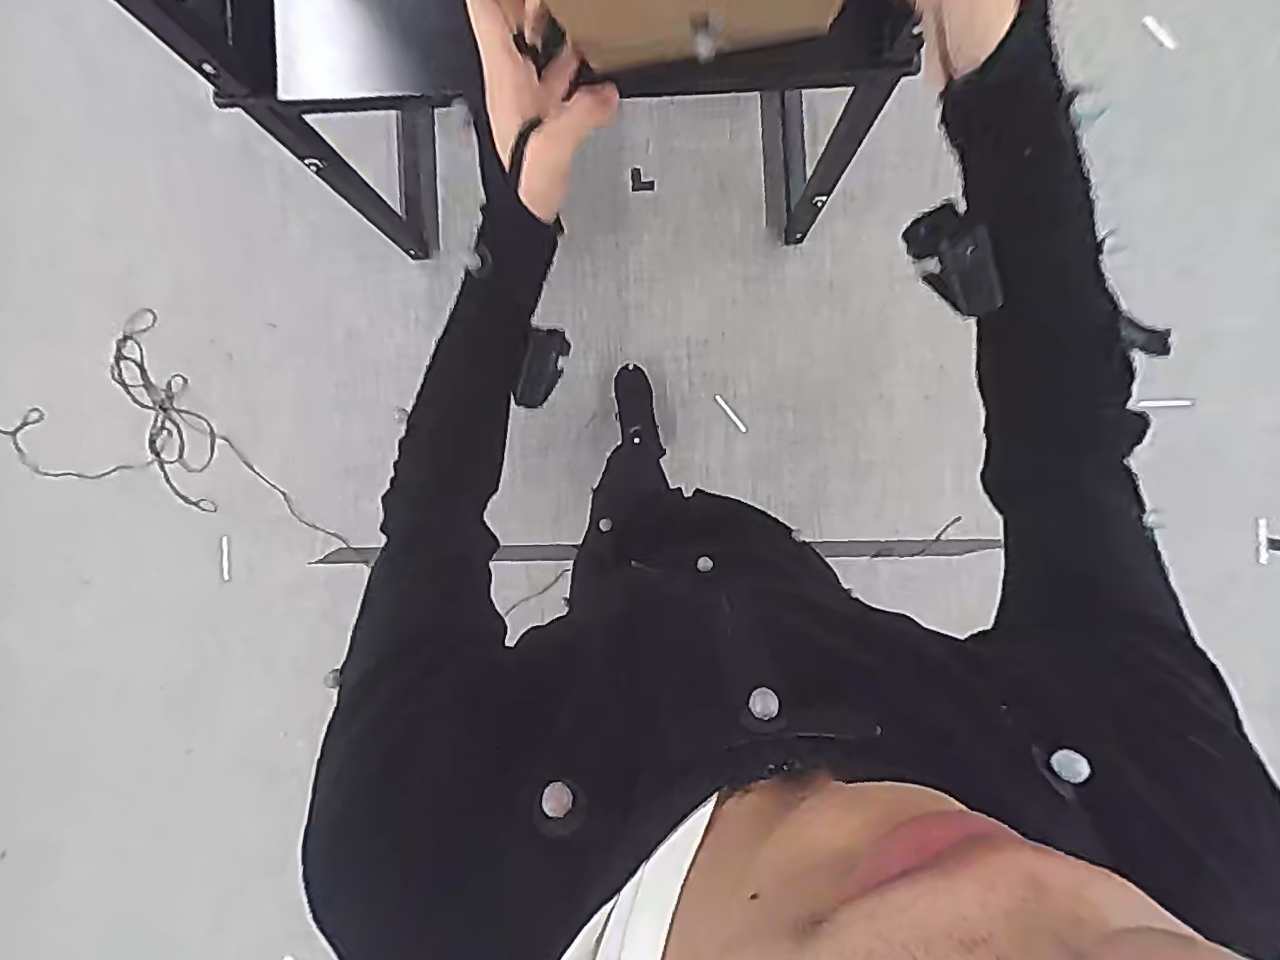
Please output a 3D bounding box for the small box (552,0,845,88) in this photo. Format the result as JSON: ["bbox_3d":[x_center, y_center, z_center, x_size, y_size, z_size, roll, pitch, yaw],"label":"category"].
[{"bbox_3d":[0.026,-0.340,0.281,0.168,0.176,0.179,-3,113,9],"label":"small box"}]
